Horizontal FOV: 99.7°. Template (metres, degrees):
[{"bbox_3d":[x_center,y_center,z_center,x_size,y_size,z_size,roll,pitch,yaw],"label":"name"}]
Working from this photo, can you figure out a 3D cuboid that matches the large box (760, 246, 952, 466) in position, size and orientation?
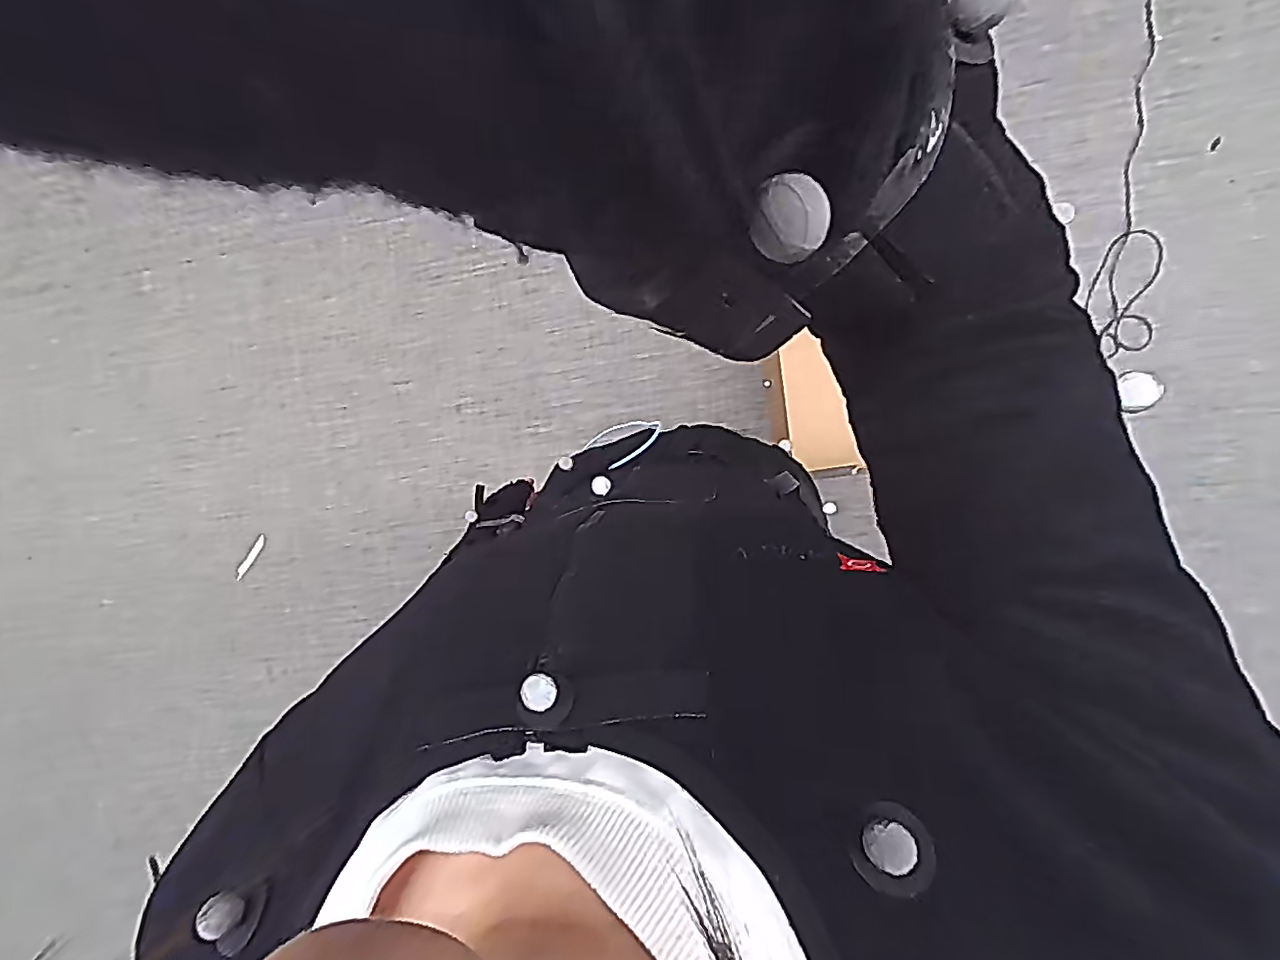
[{"bbox_3d":[0.465,-0.255,1.238,0.320,0.320,0.408,-8,93,7],"label":"large box"}]
